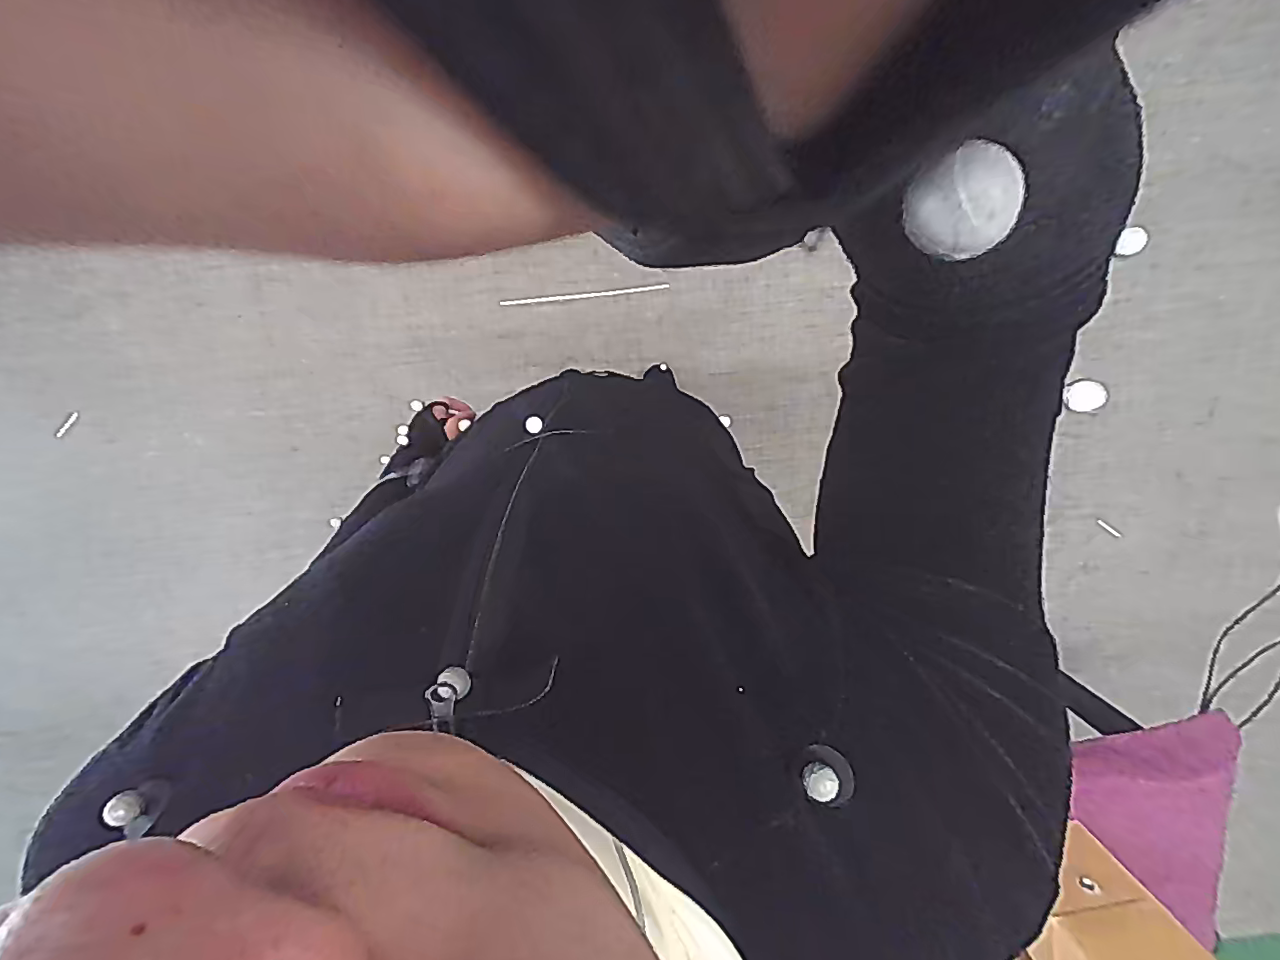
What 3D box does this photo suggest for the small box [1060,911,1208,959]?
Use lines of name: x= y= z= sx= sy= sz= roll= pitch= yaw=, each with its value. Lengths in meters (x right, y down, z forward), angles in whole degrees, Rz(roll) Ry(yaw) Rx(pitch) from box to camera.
small box: x=0.774 y=0.803 z=0.814 sx=0.179 sy=0.176 sz=0.168 roll=-11 pitch=100 yaw=0

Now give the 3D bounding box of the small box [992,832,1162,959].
small box: x=0.776 y=0.773 z=0.973 sx=0.179 sy=0.176 sz=0.168 roll=-11 pitch=100 yaw=1
